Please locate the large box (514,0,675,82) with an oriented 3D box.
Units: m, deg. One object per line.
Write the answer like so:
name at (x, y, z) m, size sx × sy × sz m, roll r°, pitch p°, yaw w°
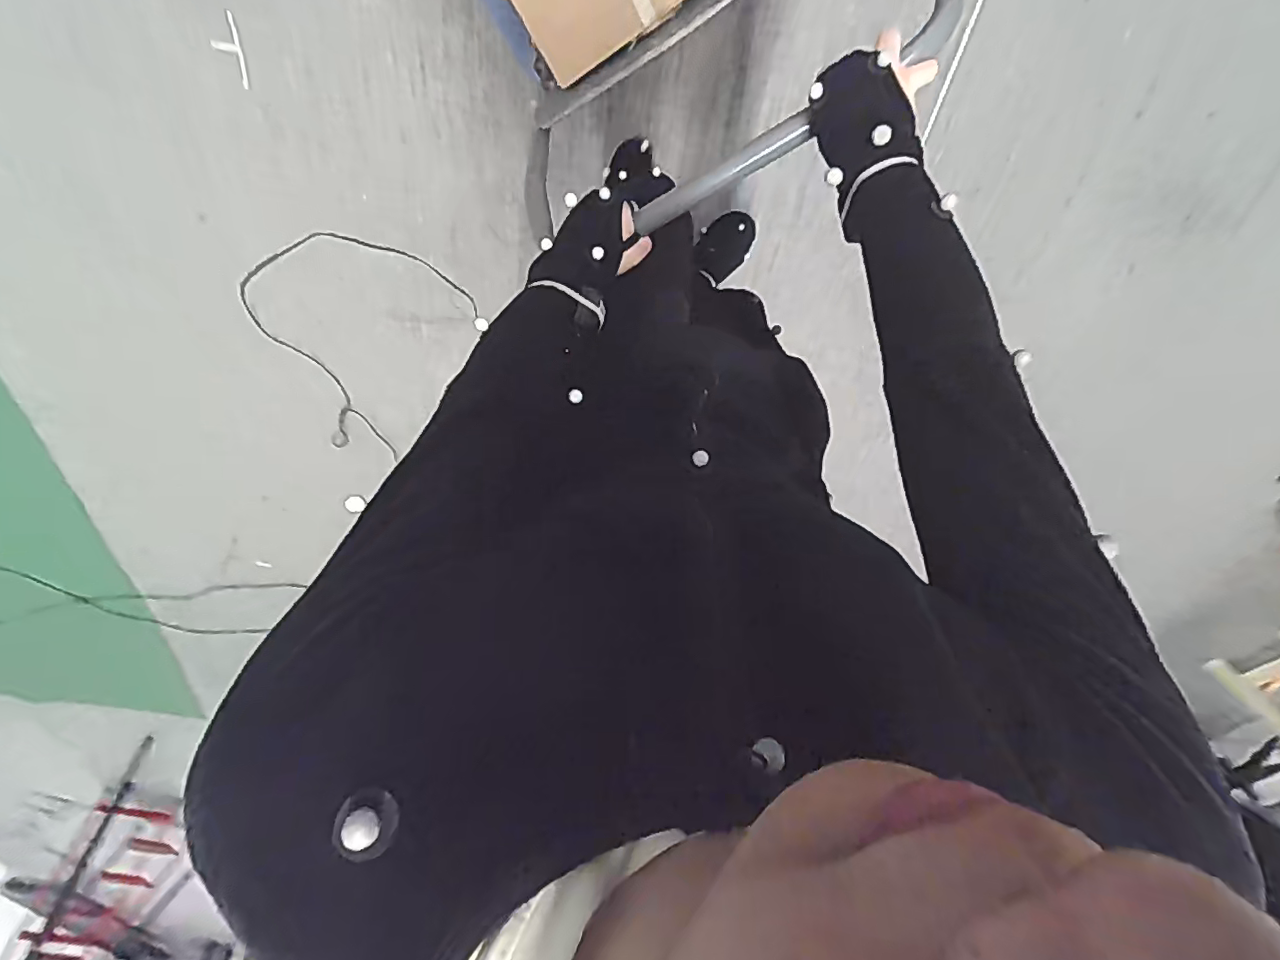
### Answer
large box at (-0.088, -0.892, 0.760) m, size 0.320 × 0.320 × 0.408 m, roll -22°, pitch 134°, yaw 22°
